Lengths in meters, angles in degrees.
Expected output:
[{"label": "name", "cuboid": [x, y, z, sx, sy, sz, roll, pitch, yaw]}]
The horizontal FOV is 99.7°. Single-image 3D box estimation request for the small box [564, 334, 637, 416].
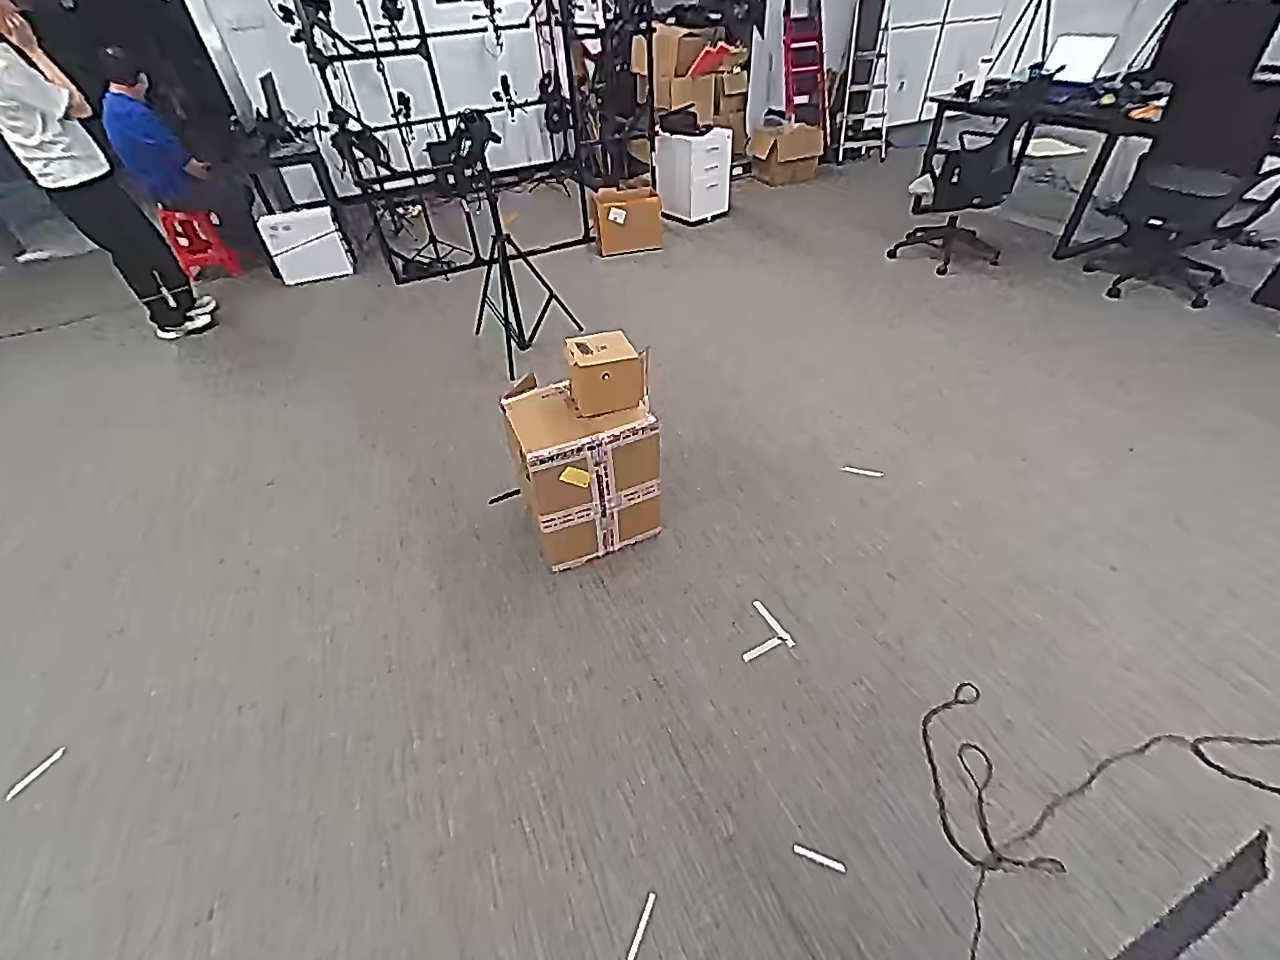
[{"label": "small box", "cuboid": [-0.113, -0.307, 1.591, 0.179, 0.176, 0.168, -14, 44, -14]}]
